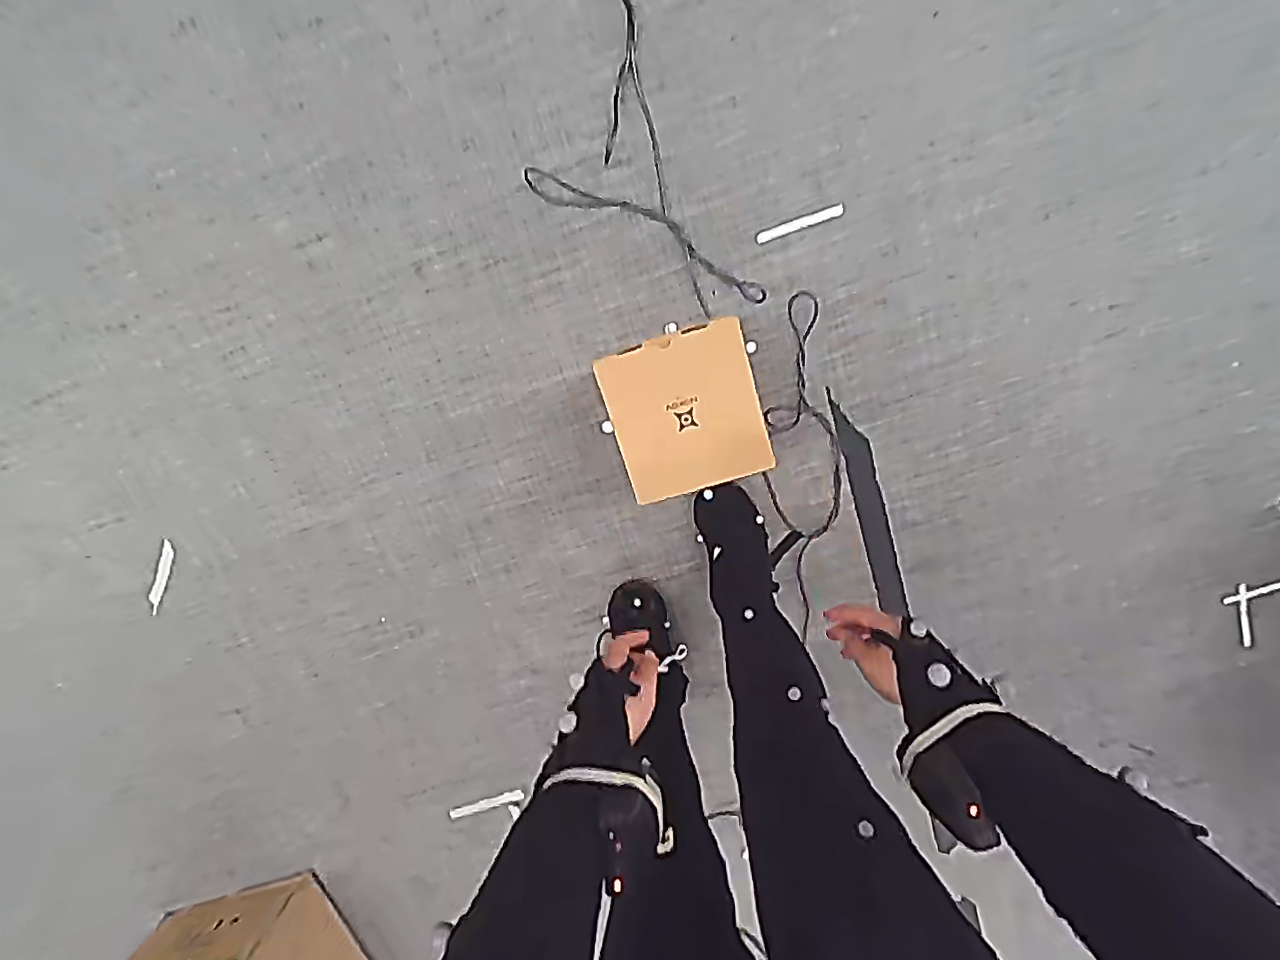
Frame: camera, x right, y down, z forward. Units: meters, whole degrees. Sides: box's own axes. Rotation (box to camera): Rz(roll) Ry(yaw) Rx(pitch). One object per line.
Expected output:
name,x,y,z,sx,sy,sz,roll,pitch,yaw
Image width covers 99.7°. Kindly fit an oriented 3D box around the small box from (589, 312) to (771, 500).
small box,0.052,-0.098,0.670,0.168,0.176,0.179,-16,103,8
